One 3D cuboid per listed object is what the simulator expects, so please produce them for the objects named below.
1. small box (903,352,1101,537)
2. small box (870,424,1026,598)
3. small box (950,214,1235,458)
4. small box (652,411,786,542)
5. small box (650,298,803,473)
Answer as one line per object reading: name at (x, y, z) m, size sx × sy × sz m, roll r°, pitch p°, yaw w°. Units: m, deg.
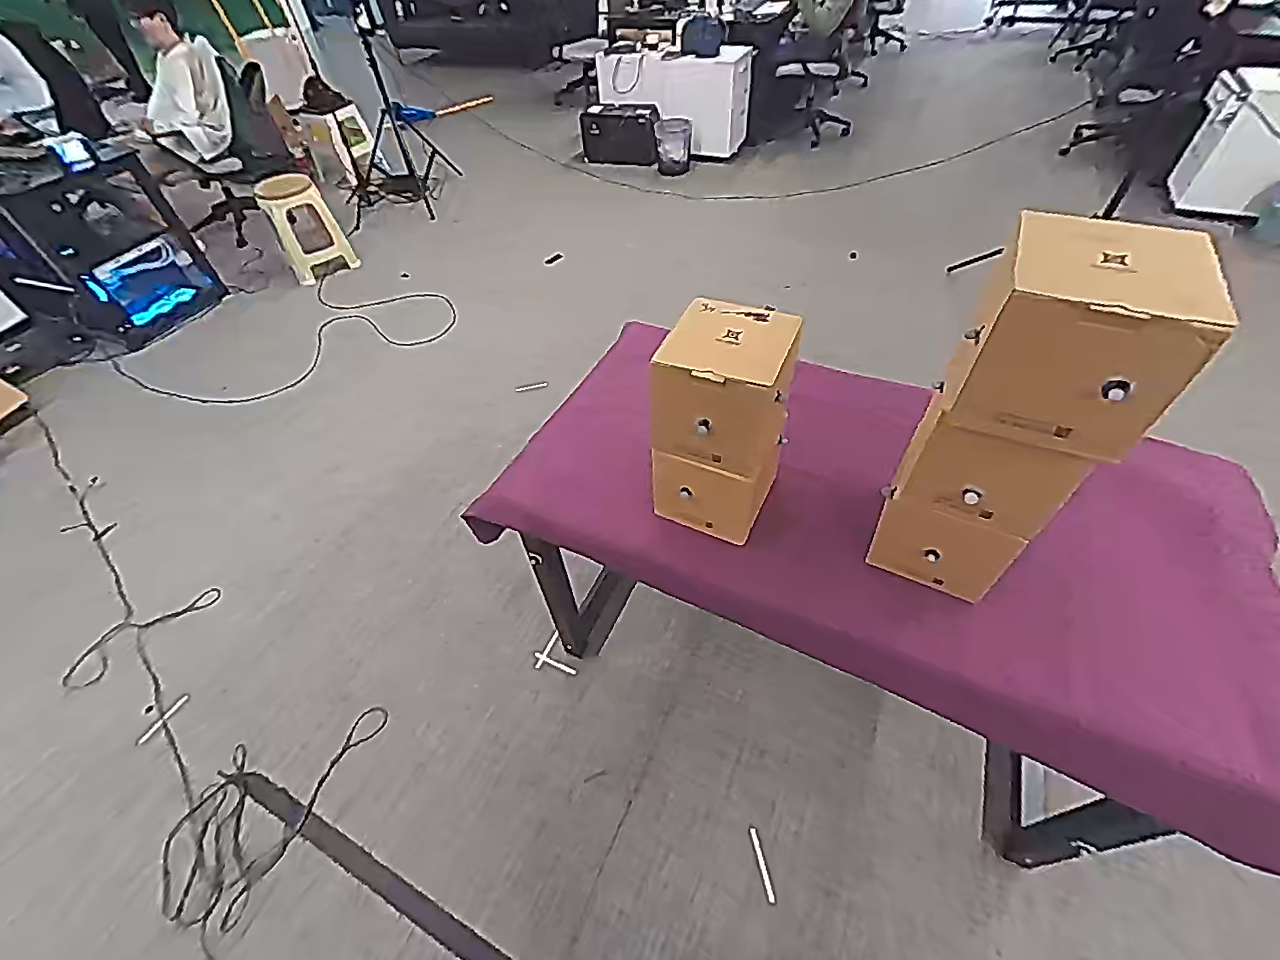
small box at (0.466, -0.060, 0.706) m, size 0.168 × 0.176 × 0.179 m, roll 21°, pitch 54°, yaw 21°
small box at (0.470, 0.049, 0.828) m, size 0.168 × 0.176 × 0.179 m, roll 21°, pitch 53°, yaw 20°
small box at (0.449, -0.151, 0.570) m, size 0.168 × 0.176 × 0.179 m, roll 19°, pitch 52°, yaw 18°
small box at (0.133, -0.024, 0.916) m, size 0.168 × 0.176 × 0.179 m, roll 20°, pitch 52°, yaw 19°
small box at (0.127, -0.137, 0.798) m, size 0.168 × 0.176 × 0.179 m, roll 18°, pitch 52°, yaw 18°
